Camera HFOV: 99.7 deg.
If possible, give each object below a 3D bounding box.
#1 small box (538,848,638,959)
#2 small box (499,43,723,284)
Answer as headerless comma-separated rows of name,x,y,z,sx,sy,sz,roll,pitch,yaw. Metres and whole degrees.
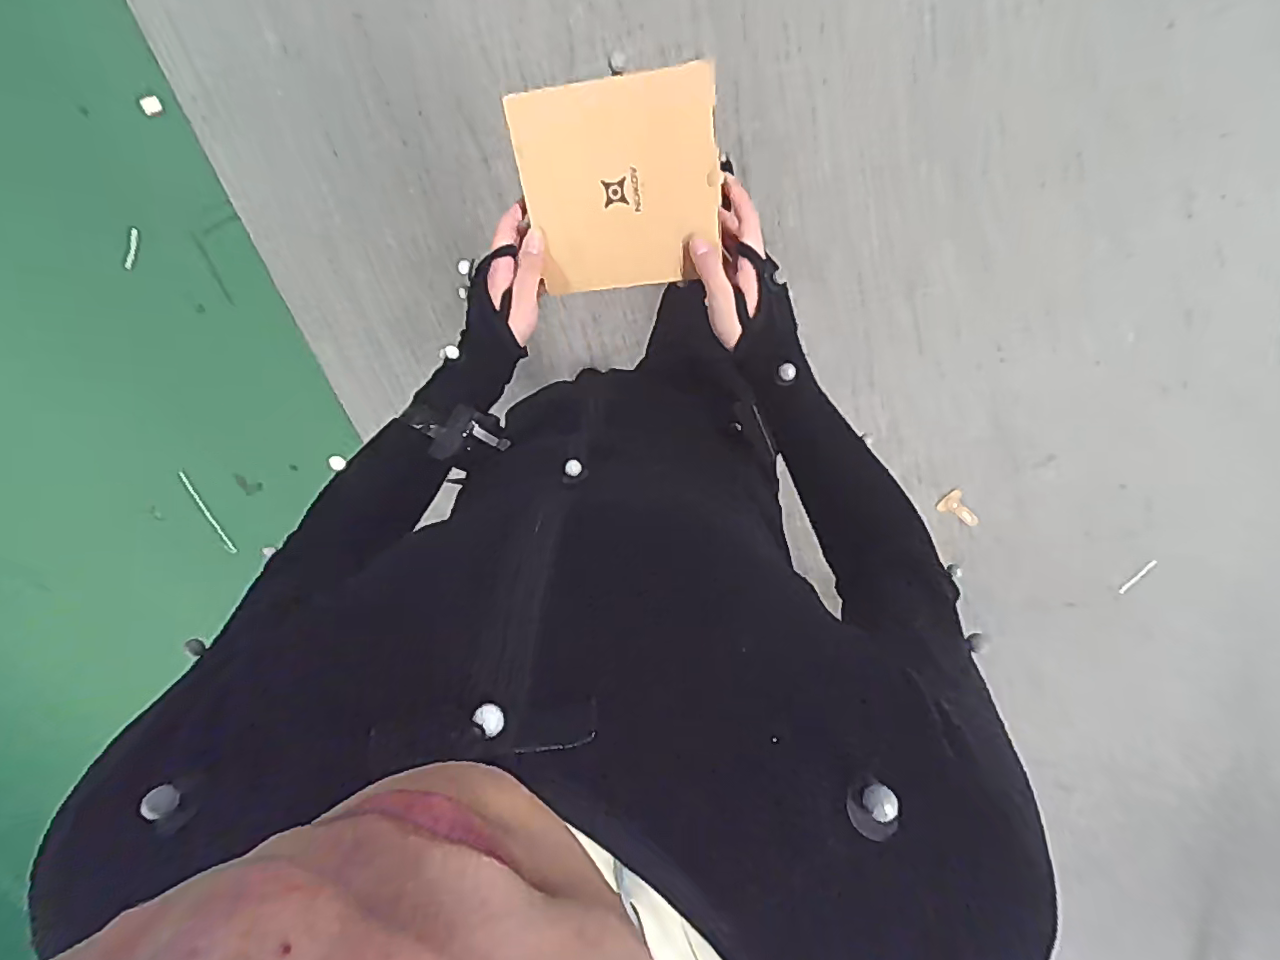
small box,-0.108,0.966,1.221,0.179,0.176,0.168,-14,114,9
small box,-0.013,-0.304,0.529,0.179,0.176,0.168,-5,125,6
